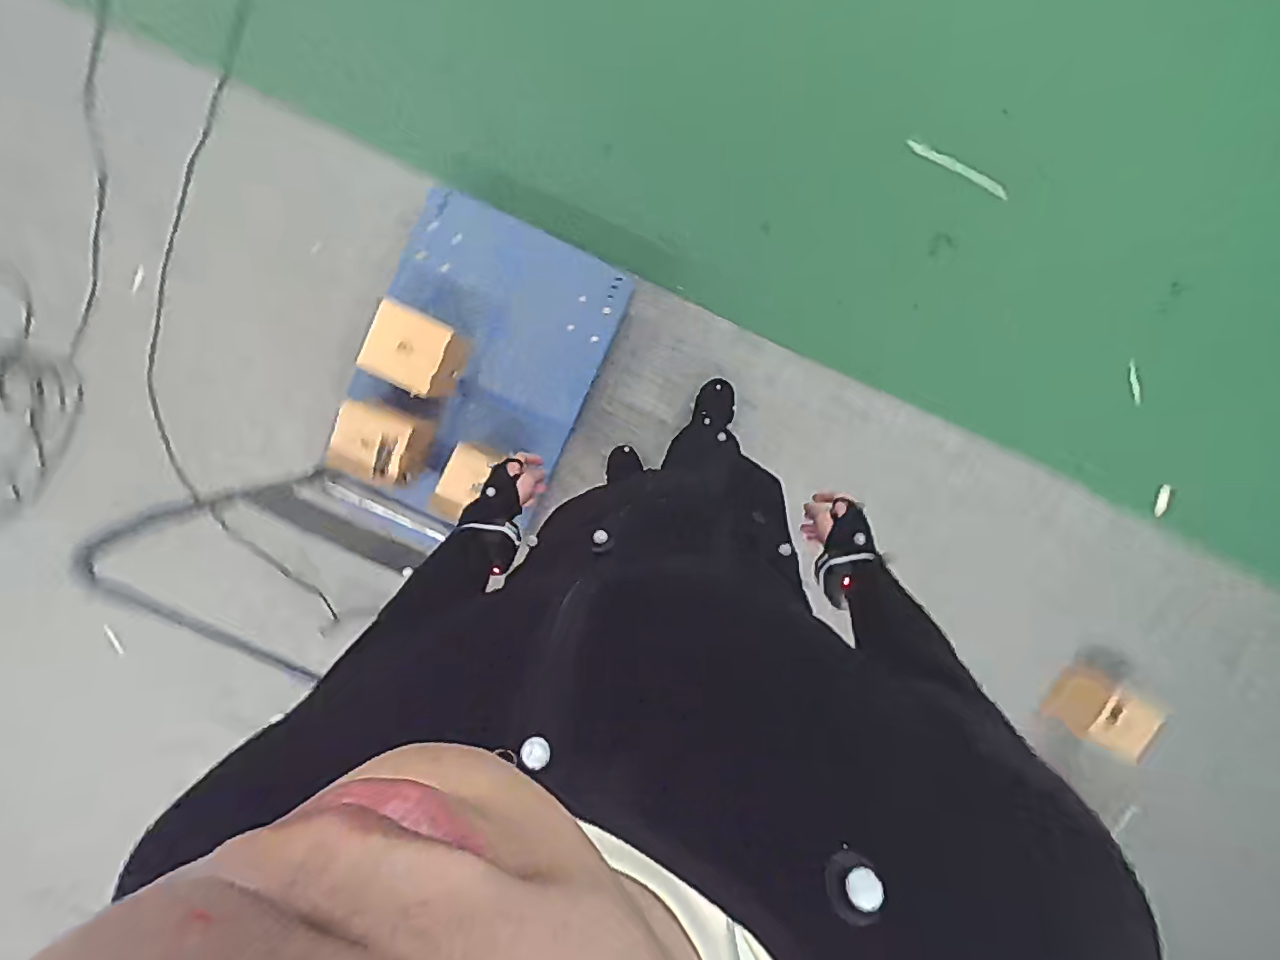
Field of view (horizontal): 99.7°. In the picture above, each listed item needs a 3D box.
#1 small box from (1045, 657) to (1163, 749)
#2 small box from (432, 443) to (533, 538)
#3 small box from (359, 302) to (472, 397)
[{"bbox_3d":[1.392,0.663,1.637,0.179,0.176,0.168,29,96,-4],"label":"small box"},{"bbox_3d":[-0.387,0.020,1.364,0.168,0.176,0.179,27,95,-3],"label":"small box"},{"bbox_3d":[-0.542,-0.310,1.329,0.179,0.176,0.168,24,95,-4],"label":"small box"}]
